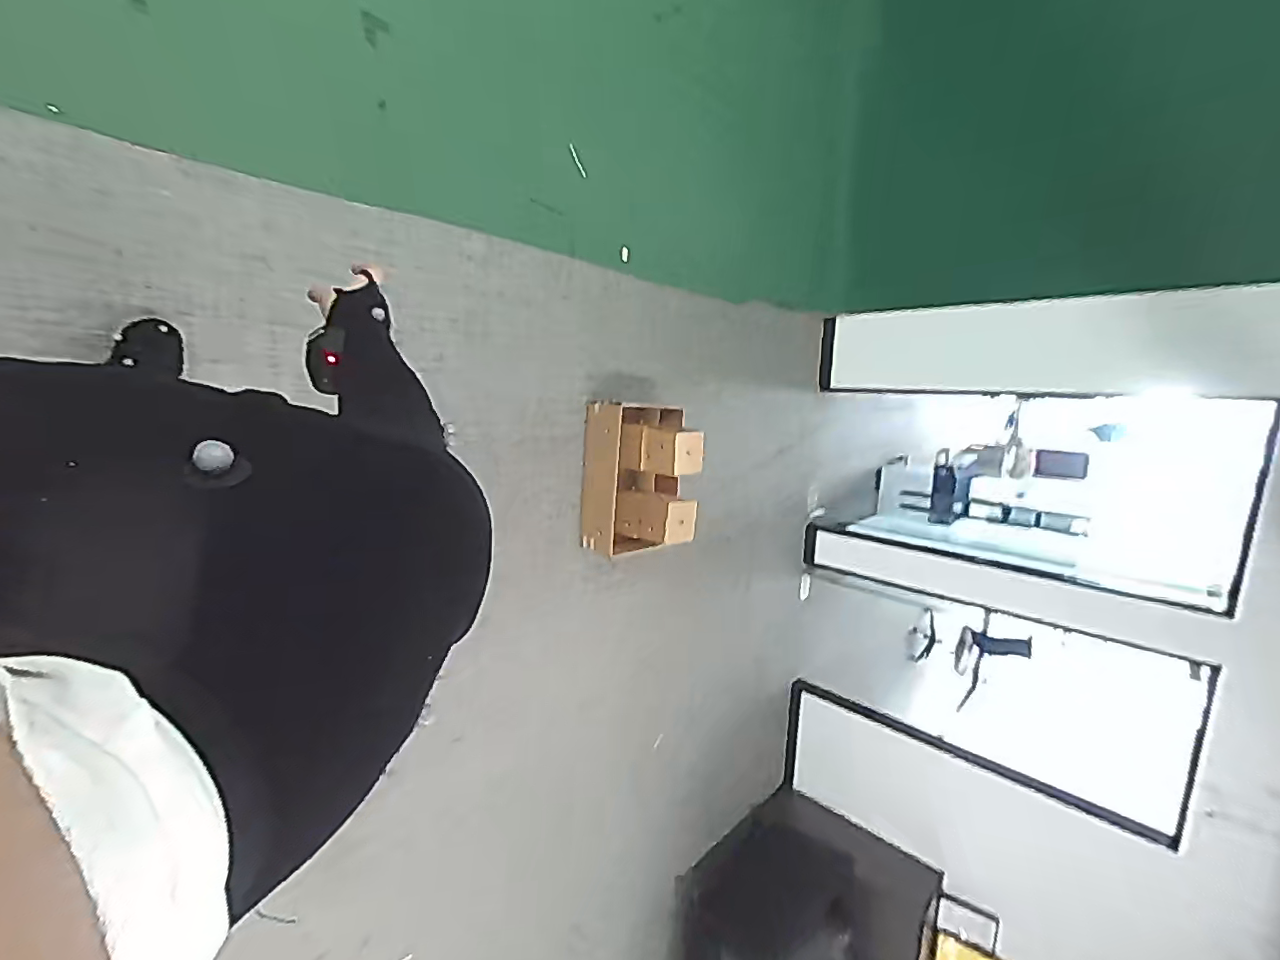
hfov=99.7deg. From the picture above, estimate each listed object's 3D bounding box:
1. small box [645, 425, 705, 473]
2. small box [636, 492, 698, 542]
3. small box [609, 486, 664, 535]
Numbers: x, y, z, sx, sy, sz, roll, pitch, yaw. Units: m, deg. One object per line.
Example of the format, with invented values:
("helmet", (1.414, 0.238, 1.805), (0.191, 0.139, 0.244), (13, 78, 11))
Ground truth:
("small box", (0.135, -0.126, 2.135), (0.179, 0.176, 0.168), (-10, 107, -45))
("small box", (0.105, 0.144, 2.161), (0.179, 0.176, 0.168), (0, 99, -47))
("small box", (-0.014, 0.125, 2.271), (0.168, 0.176, 0.179), (0, 97, -47))
